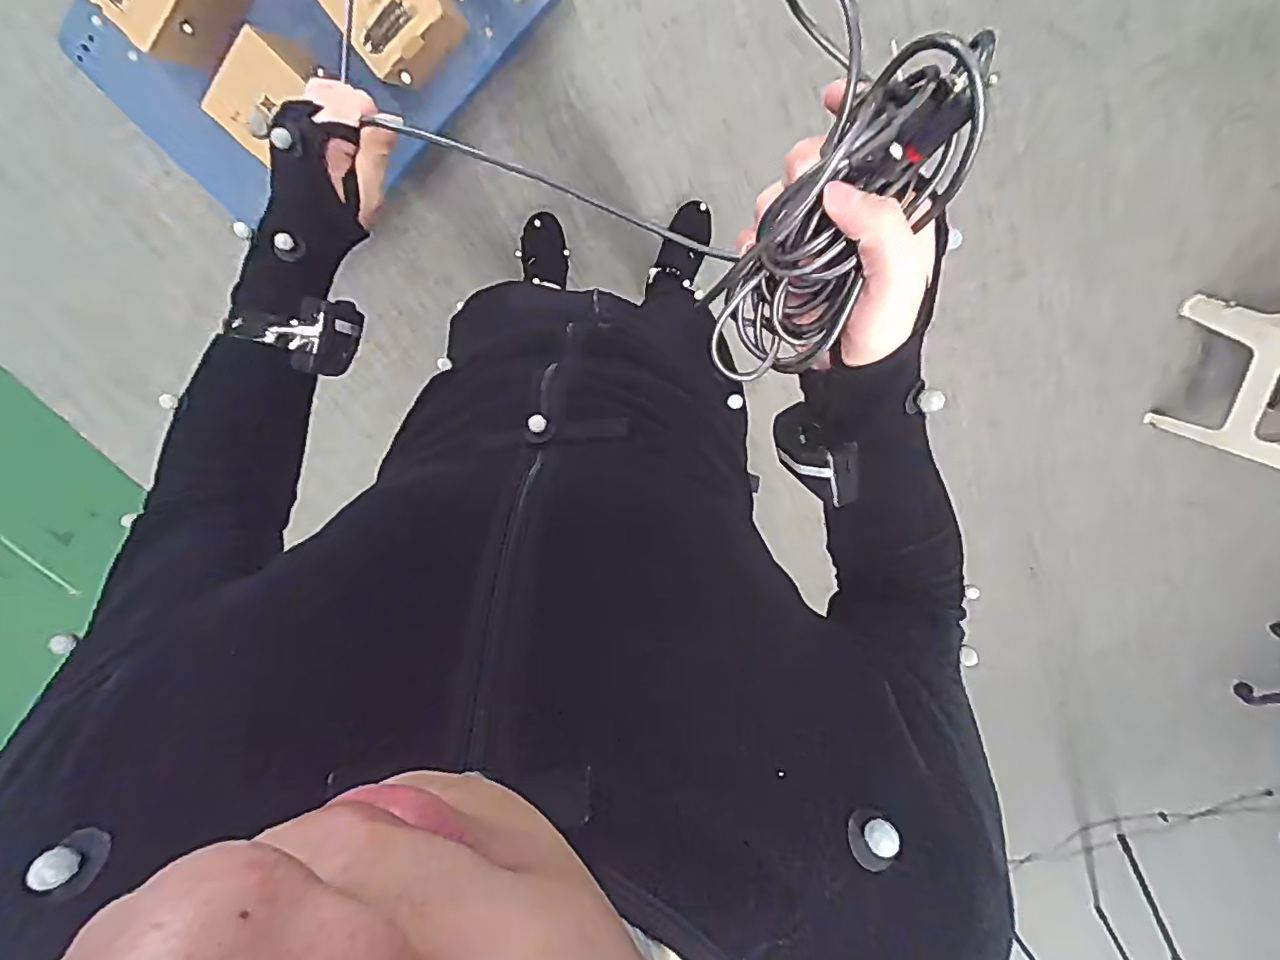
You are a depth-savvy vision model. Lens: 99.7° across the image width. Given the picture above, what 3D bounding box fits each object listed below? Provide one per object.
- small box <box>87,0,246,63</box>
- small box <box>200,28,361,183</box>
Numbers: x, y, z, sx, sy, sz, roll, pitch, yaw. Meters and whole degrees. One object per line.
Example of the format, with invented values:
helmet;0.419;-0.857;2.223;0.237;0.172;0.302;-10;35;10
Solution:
small box;-0.844;-0.876;0.943;0.179;0.176;0.168;-36;115;20
small box;-0.675;-0.709;1.042;0.179;0.176;0.168;-38;113;21
